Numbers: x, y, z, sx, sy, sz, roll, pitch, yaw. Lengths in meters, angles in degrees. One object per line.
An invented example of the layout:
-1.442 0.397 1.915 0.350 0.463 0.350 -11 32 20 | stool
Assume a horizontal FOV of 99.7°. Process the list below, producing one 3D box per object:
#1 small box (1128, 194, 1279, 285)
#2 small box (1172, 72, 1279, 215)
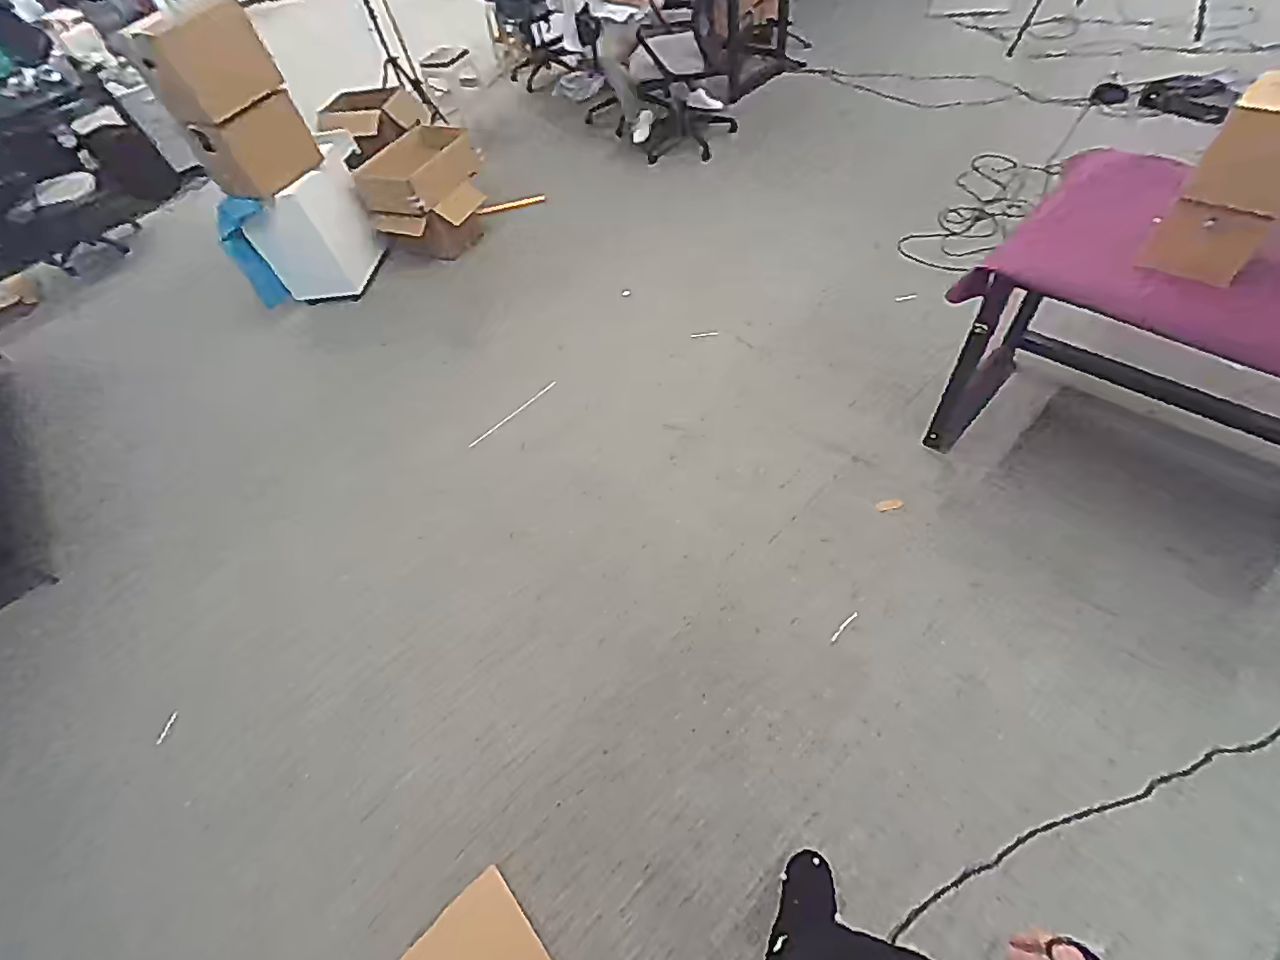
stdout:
1.229 -0.552 1.169 0.179 0.176 0.168 35 68 30 | small box
1.195 -0.636 1.030 0.168 0.176 0.179 -42 58 -19 | small box
